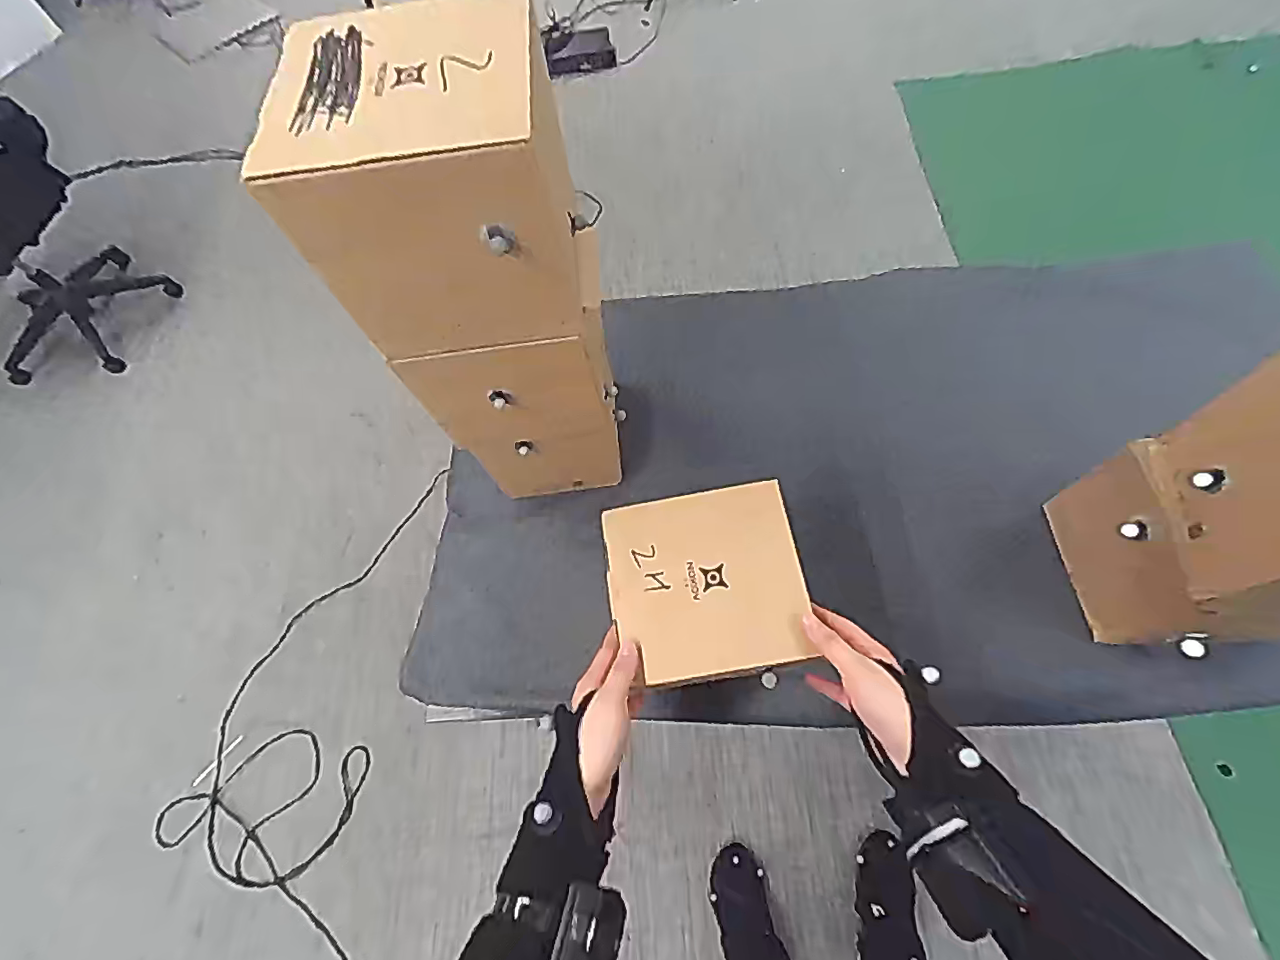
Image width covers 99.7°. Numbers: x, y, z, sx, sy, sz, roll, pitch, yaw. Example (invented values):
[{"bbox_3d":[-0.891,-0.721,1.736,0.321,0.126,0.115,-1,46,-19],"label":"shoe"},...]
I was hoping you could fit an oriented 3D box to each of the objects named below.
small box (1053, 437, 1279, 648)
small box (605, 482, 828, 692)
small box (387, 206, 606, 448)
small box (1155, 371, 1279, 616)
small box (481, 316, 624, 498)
[{"bbox_3d":[0.580,0.068,0.561,0.168,0.176,0.179,-4,63,6],"label":"small box"},{"bbox_3d":[0.072,0.118,0.559,0.179,0.176,0.168,-12,68,4],"label":"small box"},{"bbox_3d":[-0.133,-0.149,0.569,0.179,0.176,0.168,-7,65,4],"label":"small box"},{"bbox_3d":[0.562,0.009,0.410,0.179,0.176,0.168,5,64,11],"label":"small box"},{"bbox_3d":[-0.117,-0.094,0.725,0.168,0.176,0.179,-8,64,3],"label":"small box"}]
